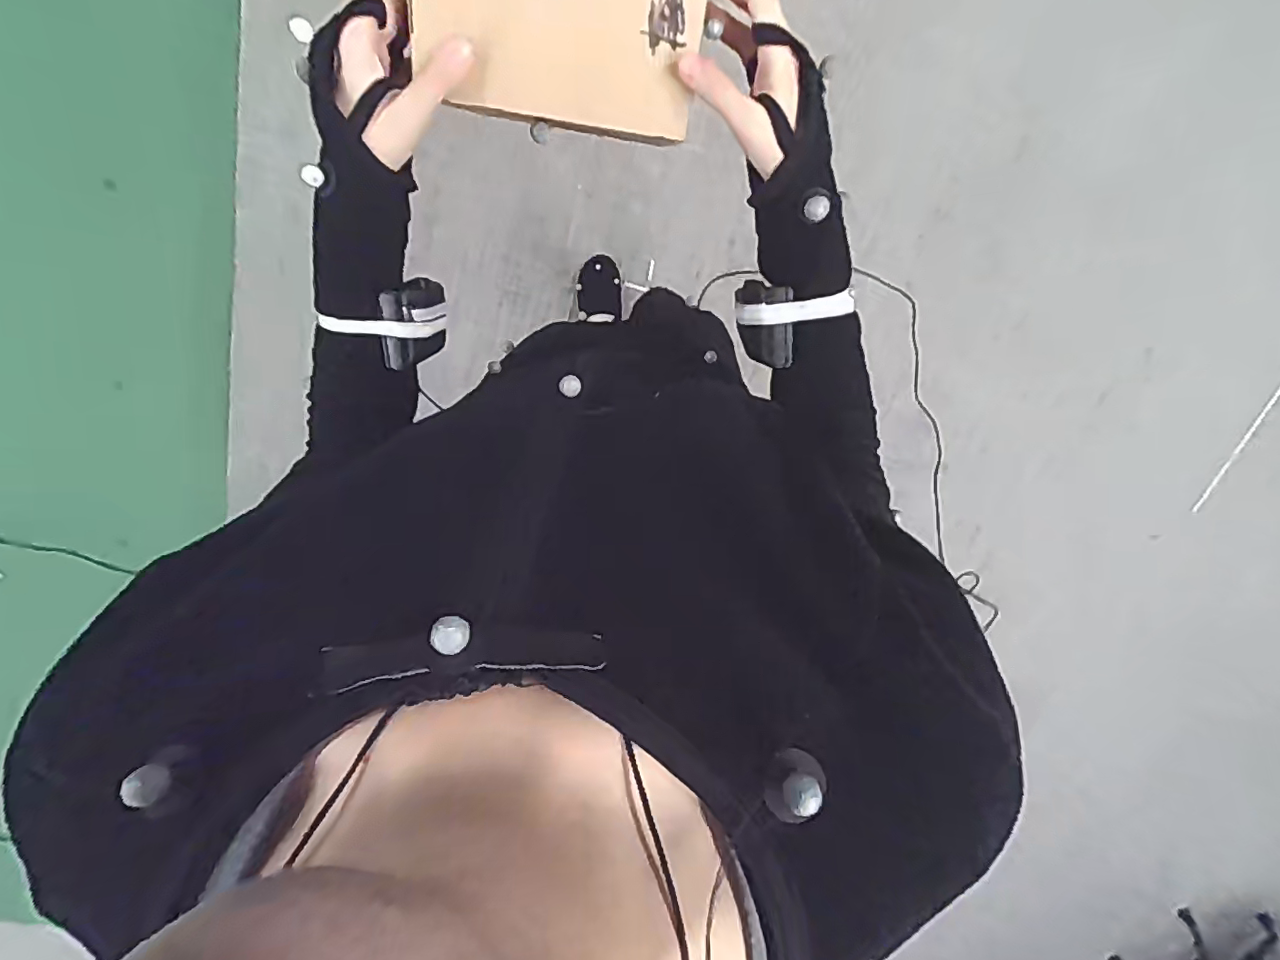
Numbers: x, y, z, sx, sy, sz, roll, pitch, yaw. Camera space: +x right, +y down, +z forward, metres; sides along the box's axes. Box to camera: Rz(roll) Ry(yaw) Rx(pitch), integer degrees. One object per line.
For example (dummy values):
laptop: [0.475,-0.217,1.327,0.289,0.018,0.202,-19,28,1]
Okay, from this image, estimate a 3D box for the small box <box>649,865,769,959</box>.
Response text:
small box: [0.130,0.882,1.032,0.179,0.176,0.168,27,108,-10]
